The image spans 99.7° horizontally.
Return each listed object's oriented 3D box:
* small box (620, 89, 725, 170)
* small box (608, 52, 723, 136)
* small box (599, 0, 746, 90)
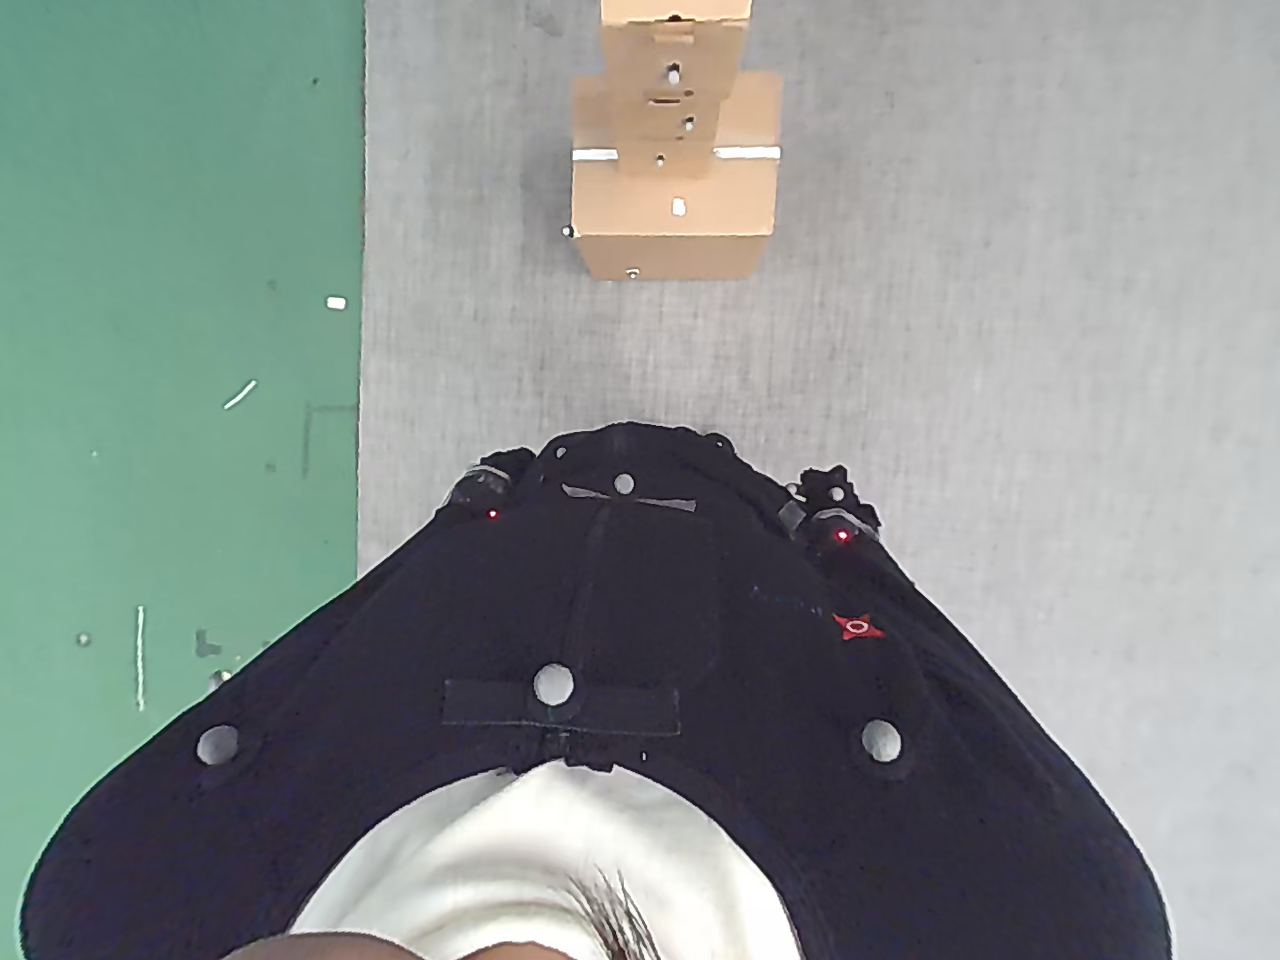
[{"bbox_3d":[0.058,-0.675,0.972,0.179,0.176,0.168,1,102,4],"label":"small box"},{"bbox_3d":[0.045,-0.644,0.813,0.168,0.176,0.179,2,100,3],"label":"small box"},{"bbox_3d":[0.045,-0.605,0.654,0.168,0.176,0.179,3,102,4],"label":"small box"}]
